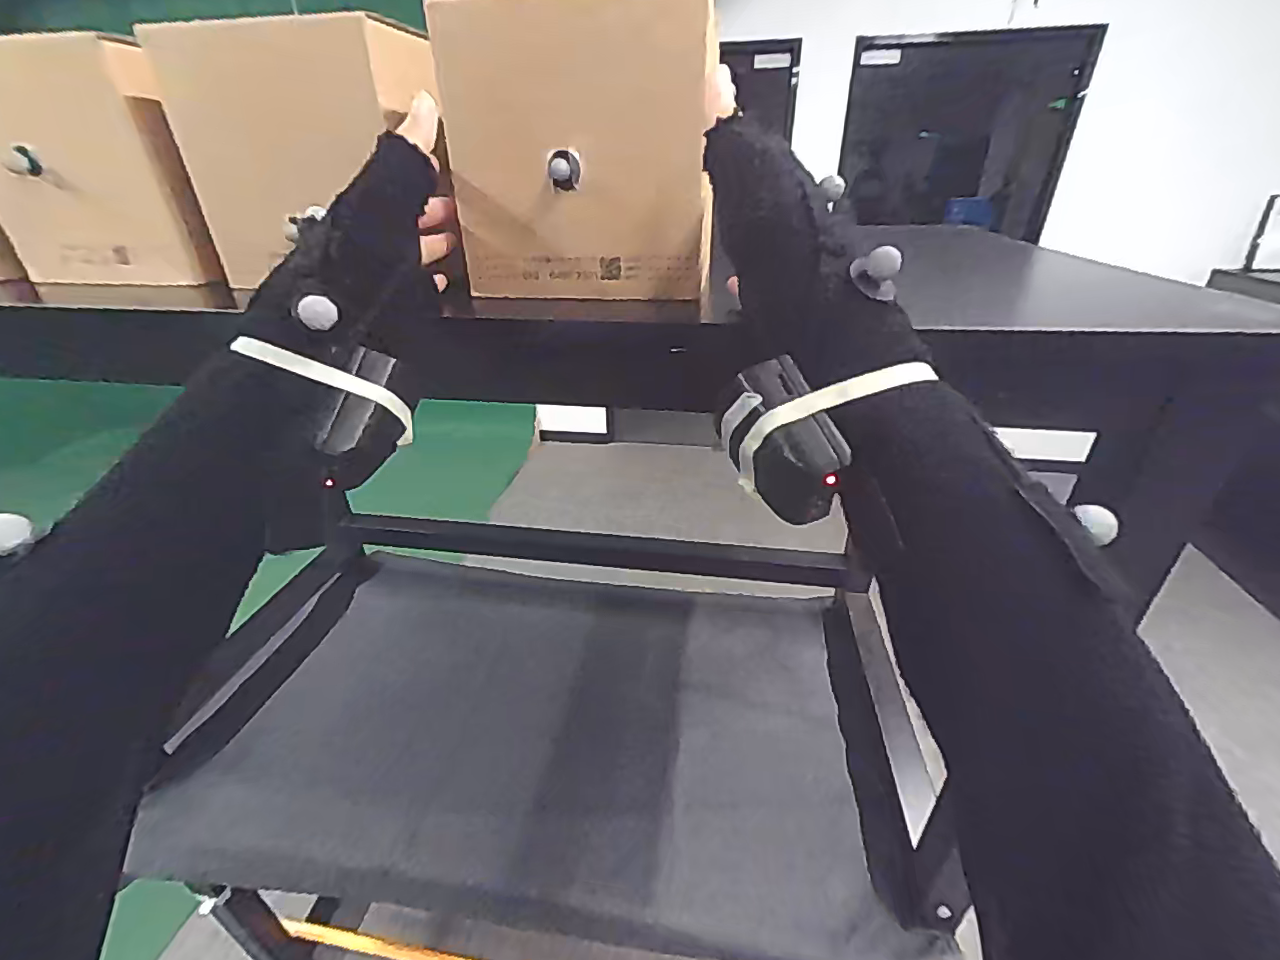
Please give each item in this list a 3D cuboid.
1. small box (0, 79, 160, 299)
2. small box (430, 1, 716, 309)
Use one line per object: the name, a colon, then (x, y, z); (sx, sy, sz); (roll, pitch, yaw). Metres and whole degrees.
small box: (-0.625, -0.281, 0.523); (0.168, 0.176, 0.179); (3, 31, 8)
small box: (-0.030, -0.233, 0.417); (0.168, 0.176, 0.179); (4, 30, 8)
